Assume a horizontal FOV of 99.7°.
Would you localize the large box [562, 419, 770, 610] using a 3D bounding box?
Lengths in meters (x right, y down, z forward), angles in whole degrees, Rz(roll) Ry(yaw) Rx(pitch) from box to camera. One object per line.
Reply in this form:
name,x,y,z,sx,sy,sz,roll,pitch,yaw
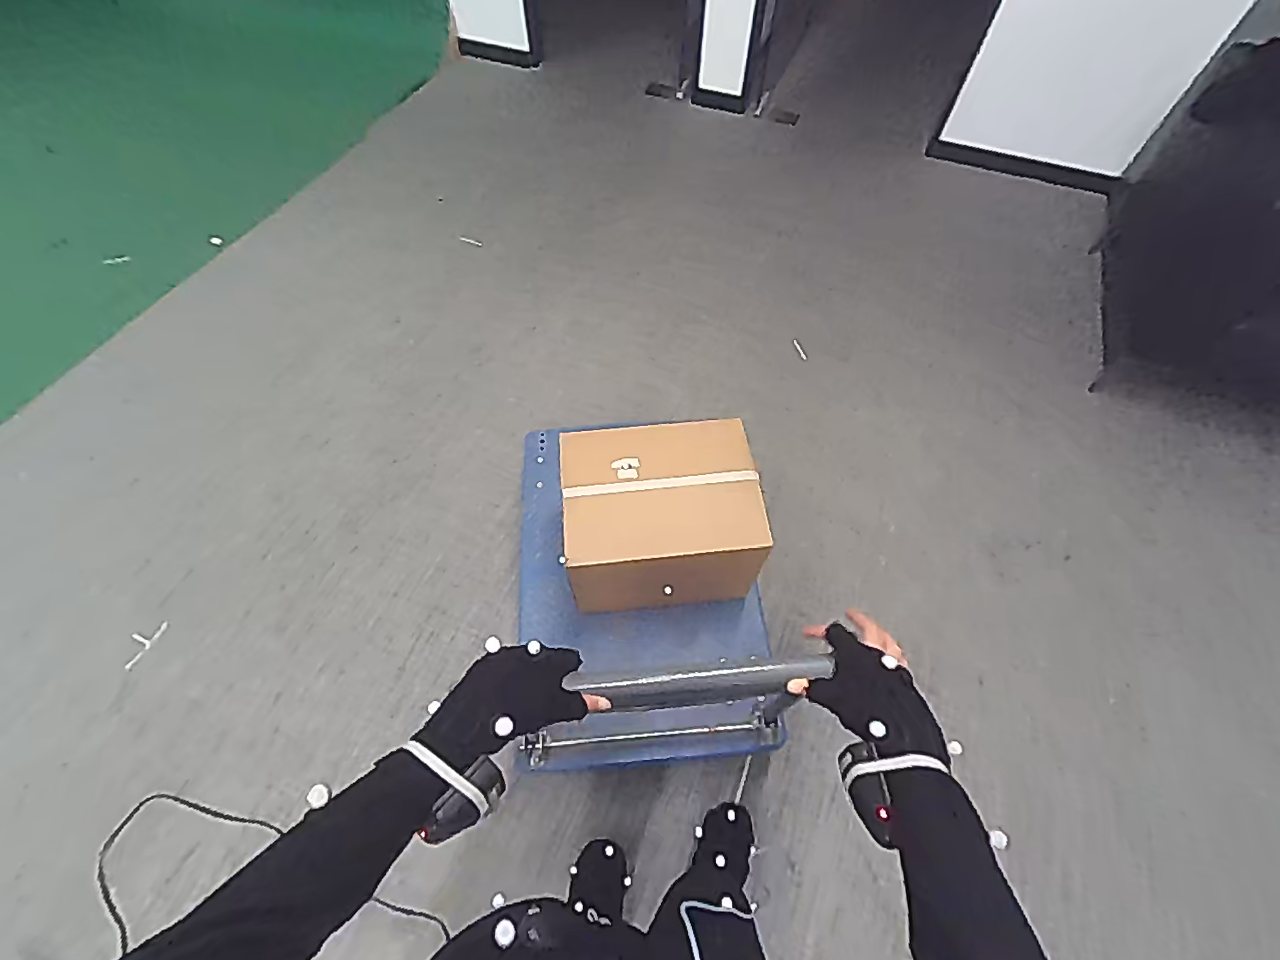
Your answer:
large box,0.047,0.091,1.252,0.408,0.320,0.320,-6,59,-2
